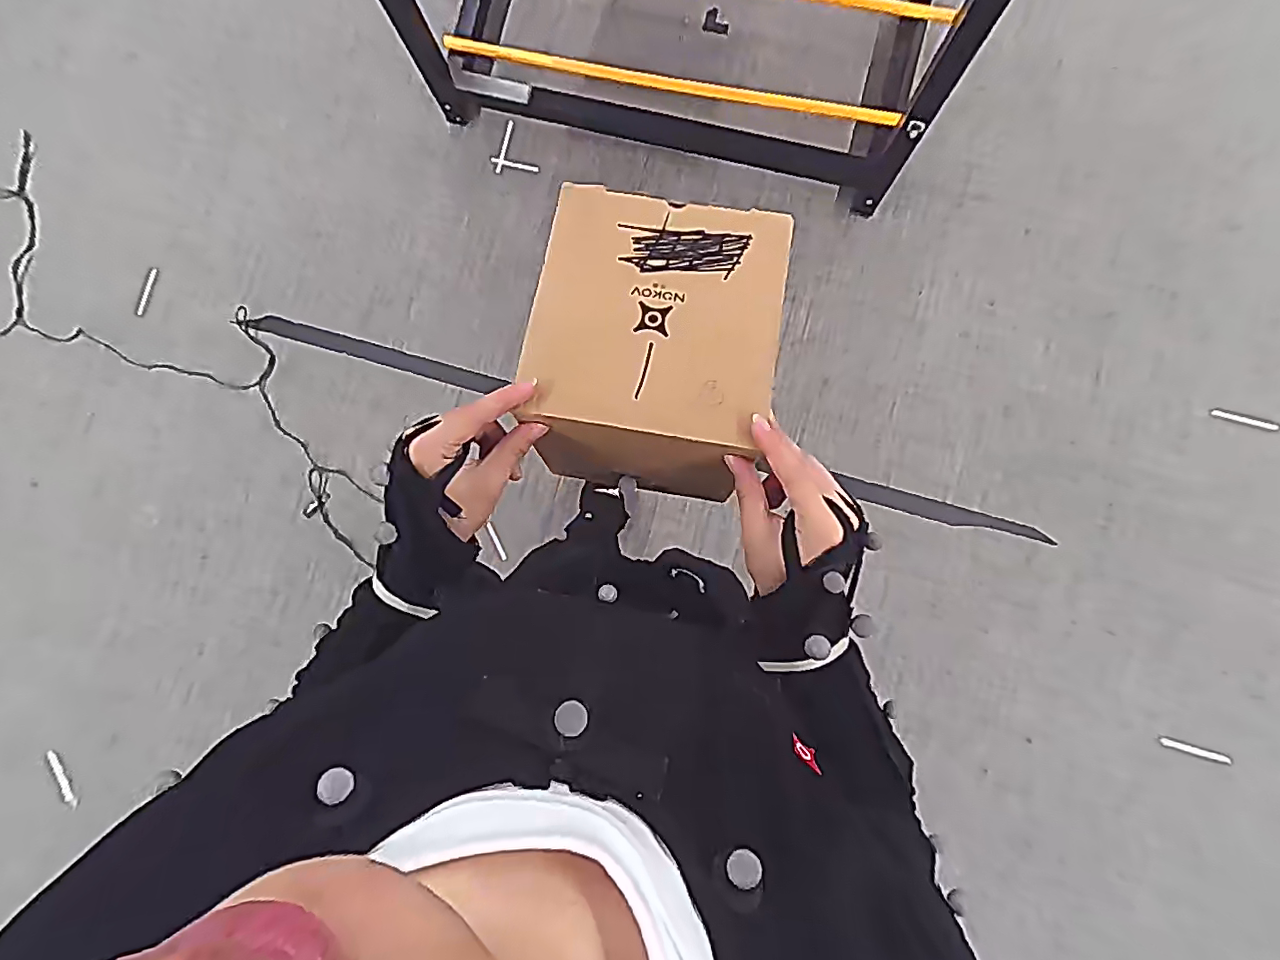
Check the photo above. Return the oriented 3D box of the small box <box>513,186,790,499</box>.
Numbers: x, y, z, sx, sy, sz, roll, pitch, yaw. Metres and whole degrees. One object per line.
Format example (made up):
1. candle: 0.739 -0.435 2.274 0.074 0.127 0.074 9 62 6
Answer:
1. small box: 0.012 -0.097 0.443 0.168 0.176 0.179 10 77 3
